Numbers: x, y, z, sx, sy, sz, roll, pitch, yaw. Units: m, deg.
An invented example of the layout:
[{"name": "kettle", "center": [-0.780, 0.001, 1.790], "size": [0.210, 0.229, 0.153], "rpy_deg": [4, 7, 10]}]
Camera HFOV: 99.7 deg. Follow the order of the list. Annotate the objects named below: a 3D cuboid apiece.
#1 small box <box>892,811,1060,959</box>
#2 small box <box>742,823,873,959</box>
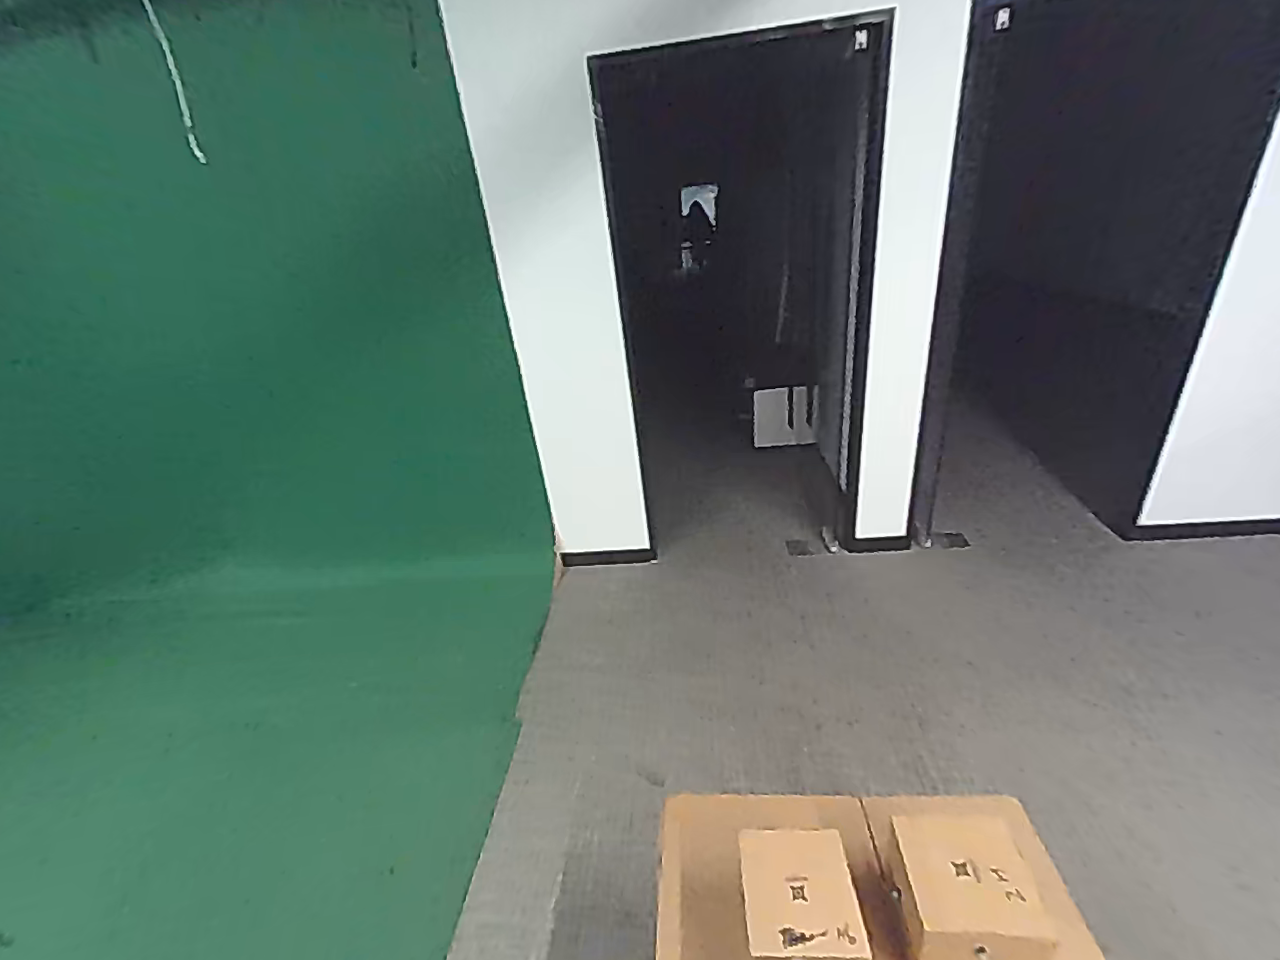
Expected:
[{"name": "small box", "center": [0.505, 0.651, 0.844], "size": [0.179, 0.176, 0.168], "rpy_deg": [-4, 27, 11]}, {"name": "small box", "center": [0.254, 0.680, 0.851], "size": [0.168, 0.176, 0.179], "rpy_deg": [-6, 25, 7]}]
